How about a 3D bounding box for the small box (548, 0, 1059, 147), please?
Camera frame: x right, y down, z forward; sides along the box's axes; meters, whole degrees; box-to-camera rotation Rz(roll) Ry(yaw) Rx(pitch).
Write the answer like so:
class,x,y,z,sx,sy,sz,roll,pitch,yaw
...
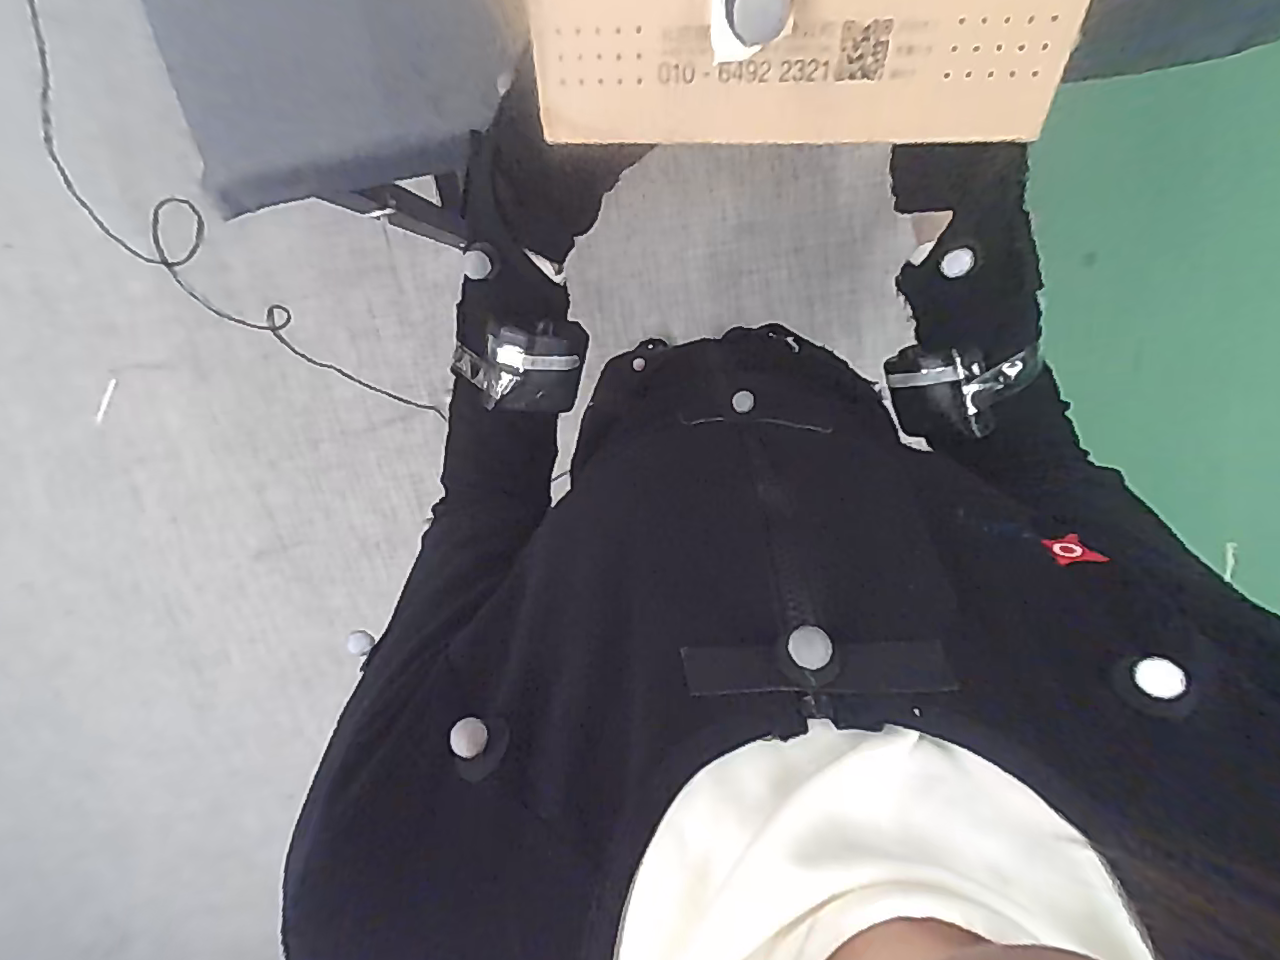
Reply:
class,x,y,z,sx,sy,sz,roll,pitch,yaw
small box,0.053,-0.237,0.201,0.168,0.179,0.176,2,131,4
